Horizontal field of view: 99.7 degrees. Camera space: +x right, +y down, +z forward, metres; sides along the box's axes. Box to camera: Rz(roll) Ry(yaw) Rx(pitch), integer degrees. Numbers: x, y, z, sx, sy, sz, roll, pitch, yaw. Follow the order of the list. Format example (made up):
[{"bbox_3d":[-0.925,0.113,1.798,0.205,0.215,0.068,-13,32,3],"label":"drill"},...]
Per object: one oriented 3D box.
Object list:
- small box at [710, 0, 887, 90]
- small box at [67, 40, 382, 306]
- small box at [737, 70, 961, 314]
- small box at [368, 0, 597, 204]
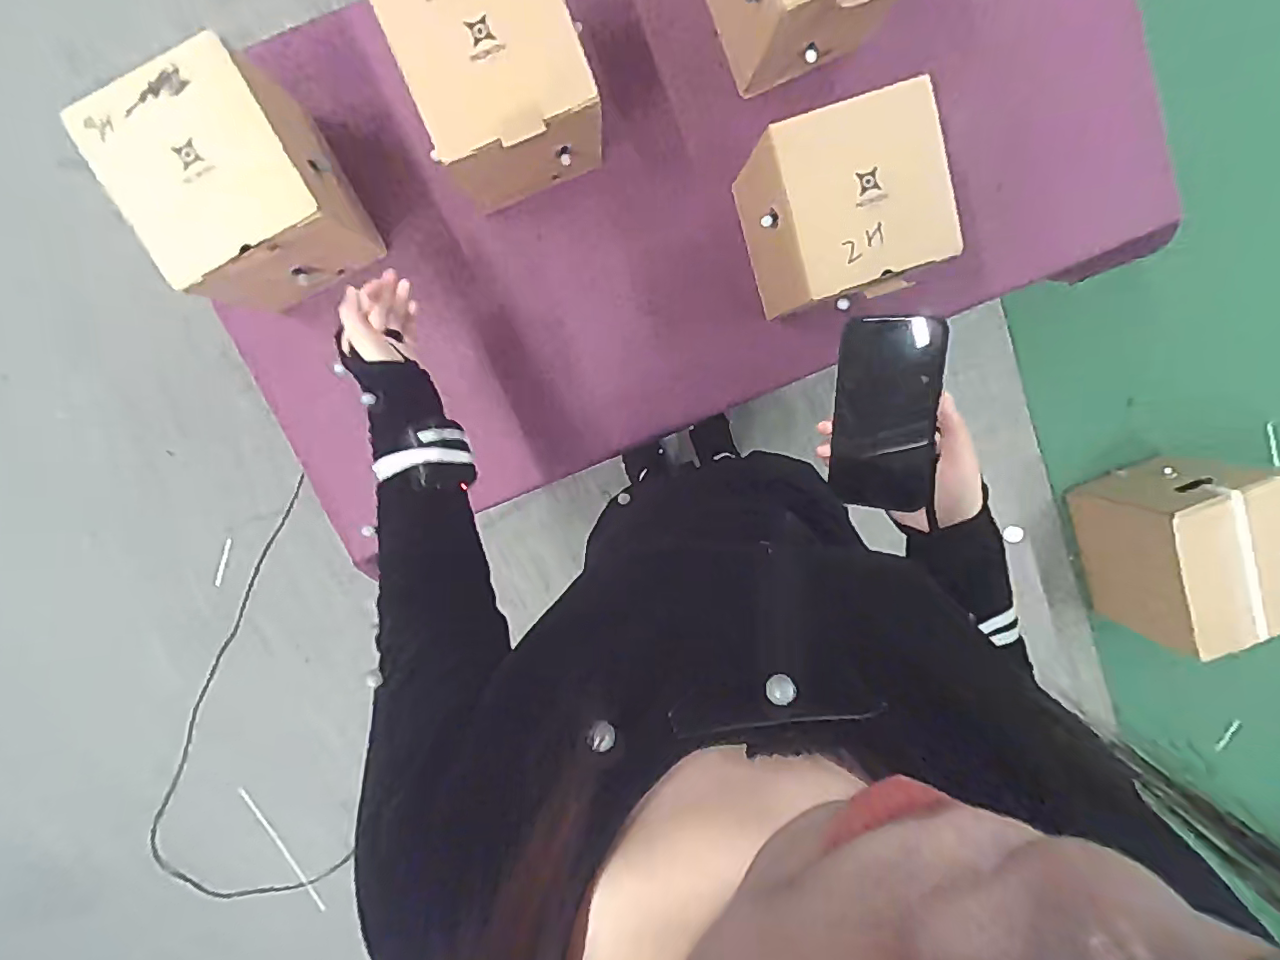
[{"bbox_3d":[0.166,-0.569,0.567,0.168,0.176,0.179,-25,101,2],"label":"small box"},{"bbox_3d":[-0.419,-0.304,0.586,0.168,0.176,0.179,-28,102,2],"label":"small box"},{"bbox_3d":[0.222,-0.306,0.616,0.168,0.176,0.179,-18,101,1],"label":"small box"},{"bbox_3d":[-0.151,-0.422,0.579,0.168,0.176,0.179,-23,100,1],"label":"small box"}]
